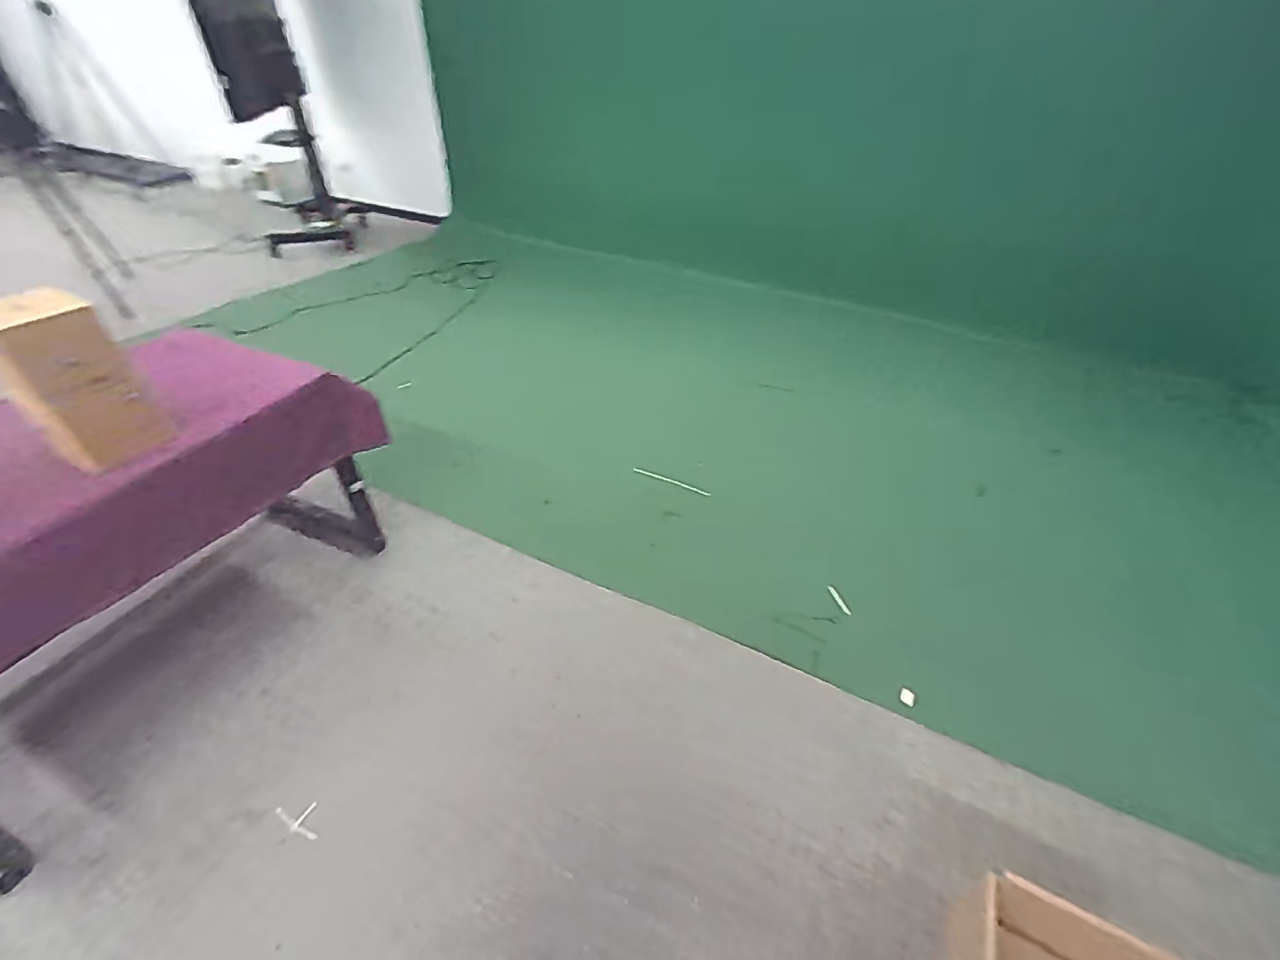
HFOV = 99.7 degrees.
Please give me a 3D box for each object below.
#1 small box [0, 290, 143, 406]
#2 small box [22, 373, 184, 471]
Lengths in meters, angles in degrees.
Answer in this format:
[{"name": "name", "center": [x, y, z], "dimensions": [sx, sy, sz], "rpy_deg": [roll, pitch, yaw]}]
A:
[{"name": "small box", "center": [-1.210, -0.274, 1.130], "dimensions": [0.179, 0.176, 0.168], "rpy_deg": [20, 42, 21]}, {"name": "small box", "center": [-1.210, -0.145, 1.233], "dimensions": [0.168, 0.176, 0.179], "rpy_deg": [19, 42, 19]}]
